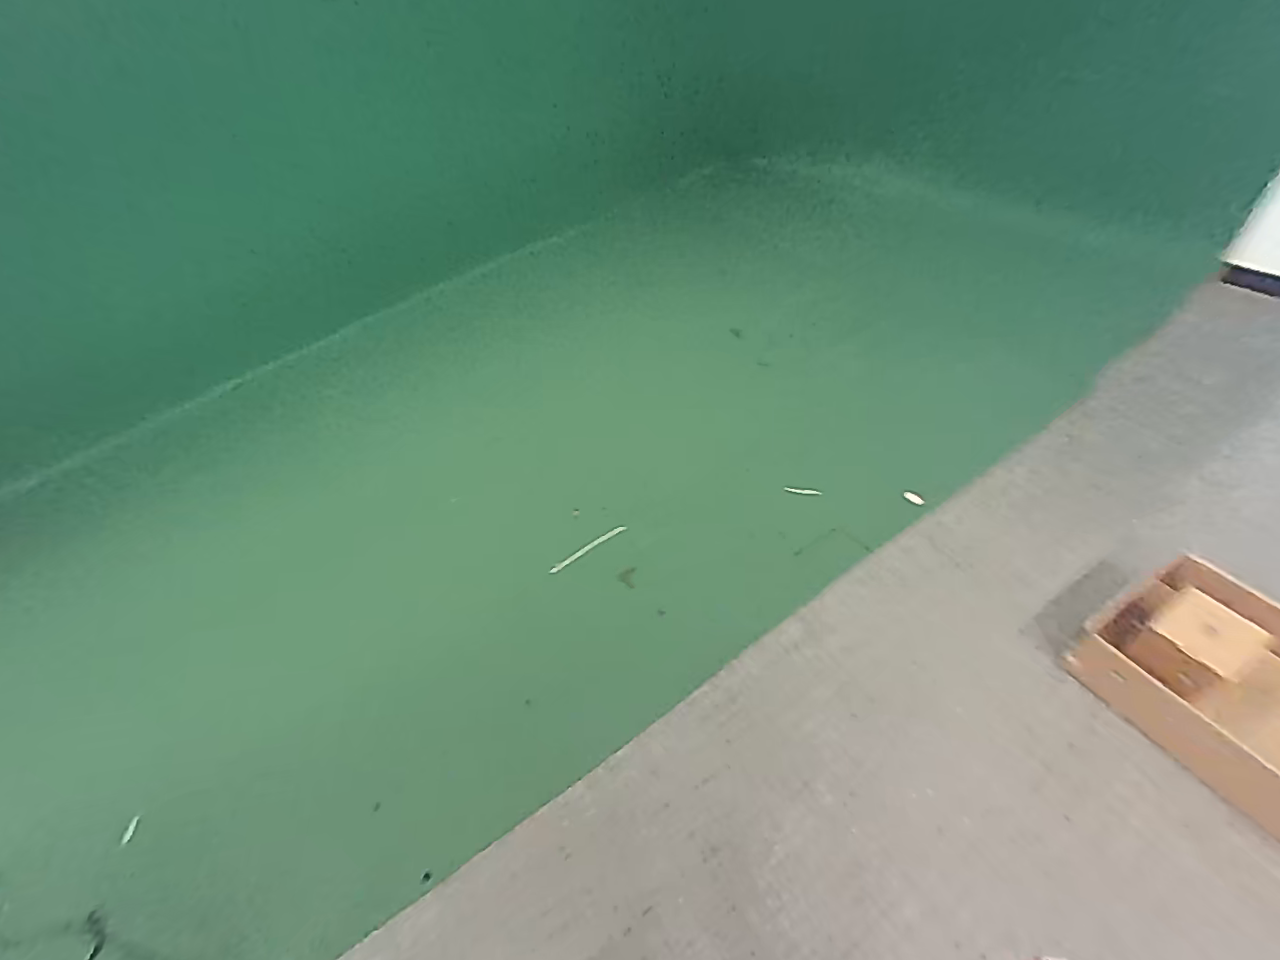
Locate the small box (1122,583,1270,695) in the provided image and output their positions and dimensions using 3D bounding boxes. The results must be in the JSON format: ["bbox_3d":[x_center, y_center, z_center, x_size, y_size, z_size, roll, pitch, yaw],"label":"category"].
[{"bbox_3d":[1.344,0.393,1.325,0.179,0.176,0.168,-31,51,-14],"label":"small box"}]
